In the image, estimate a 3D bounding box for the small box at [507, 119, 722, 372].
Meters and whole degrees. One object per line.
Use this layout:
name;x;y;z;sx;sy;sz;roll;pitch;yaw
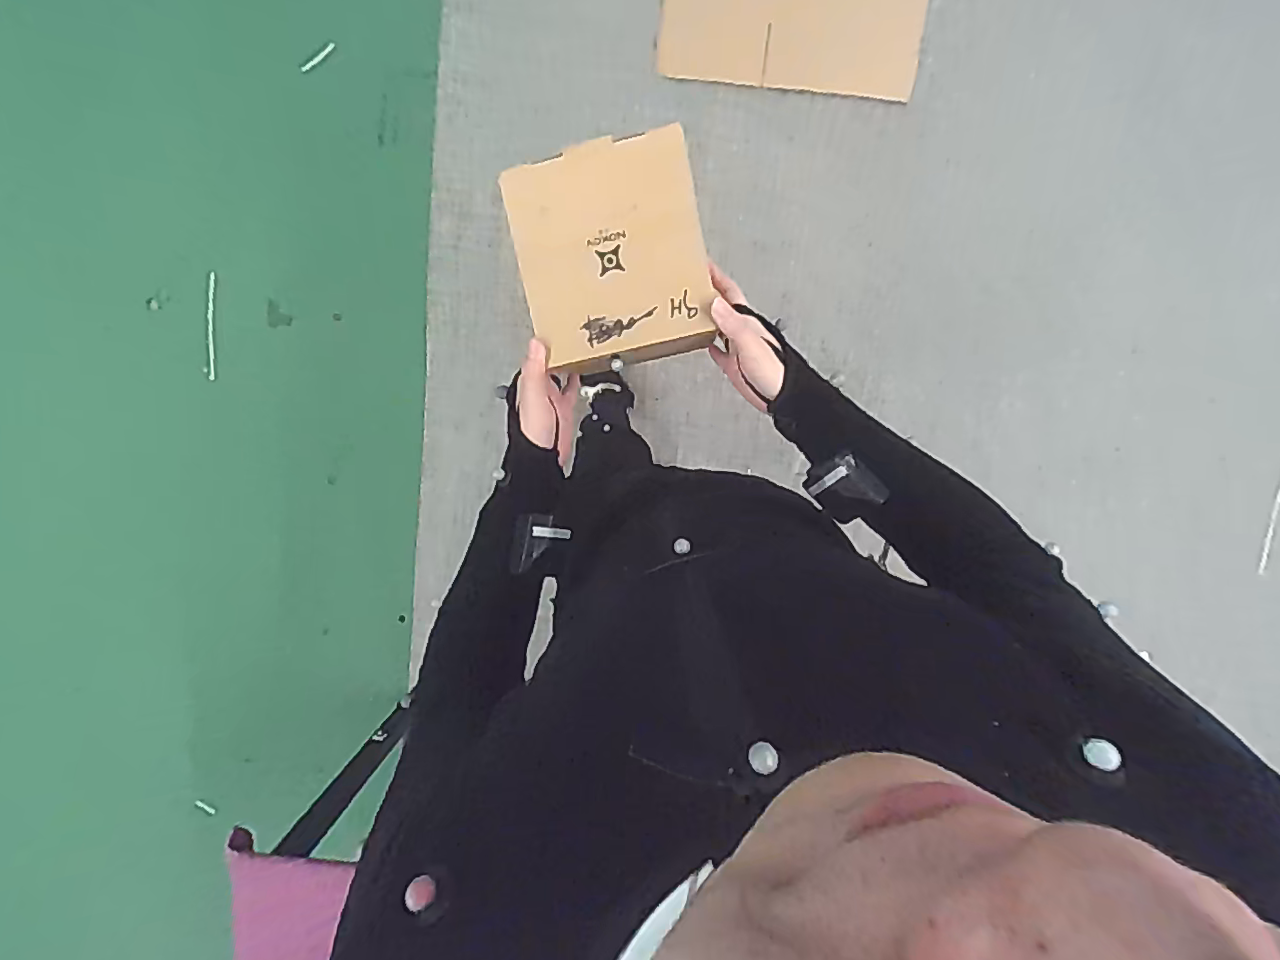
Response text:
small box;-0.015;-0.216;0.548;0.168;0.176;0.179;-10;97;7
